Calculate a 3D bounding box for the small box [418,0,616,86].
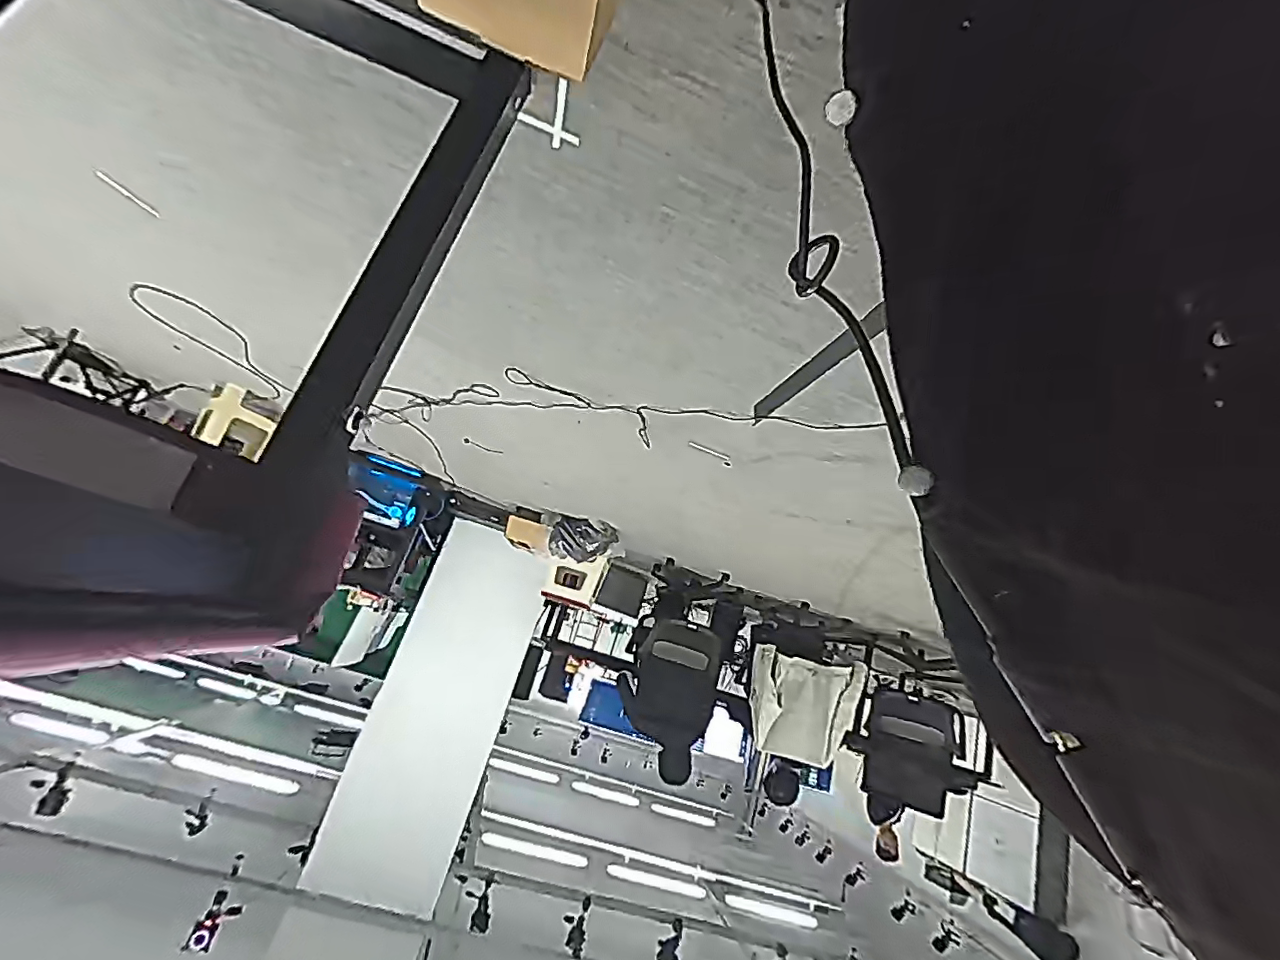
[{"bbox_3d":[-0.089,-0.512,0.468,0.168,0.176,0.179,20,162,-11],"label":"small box"}]
